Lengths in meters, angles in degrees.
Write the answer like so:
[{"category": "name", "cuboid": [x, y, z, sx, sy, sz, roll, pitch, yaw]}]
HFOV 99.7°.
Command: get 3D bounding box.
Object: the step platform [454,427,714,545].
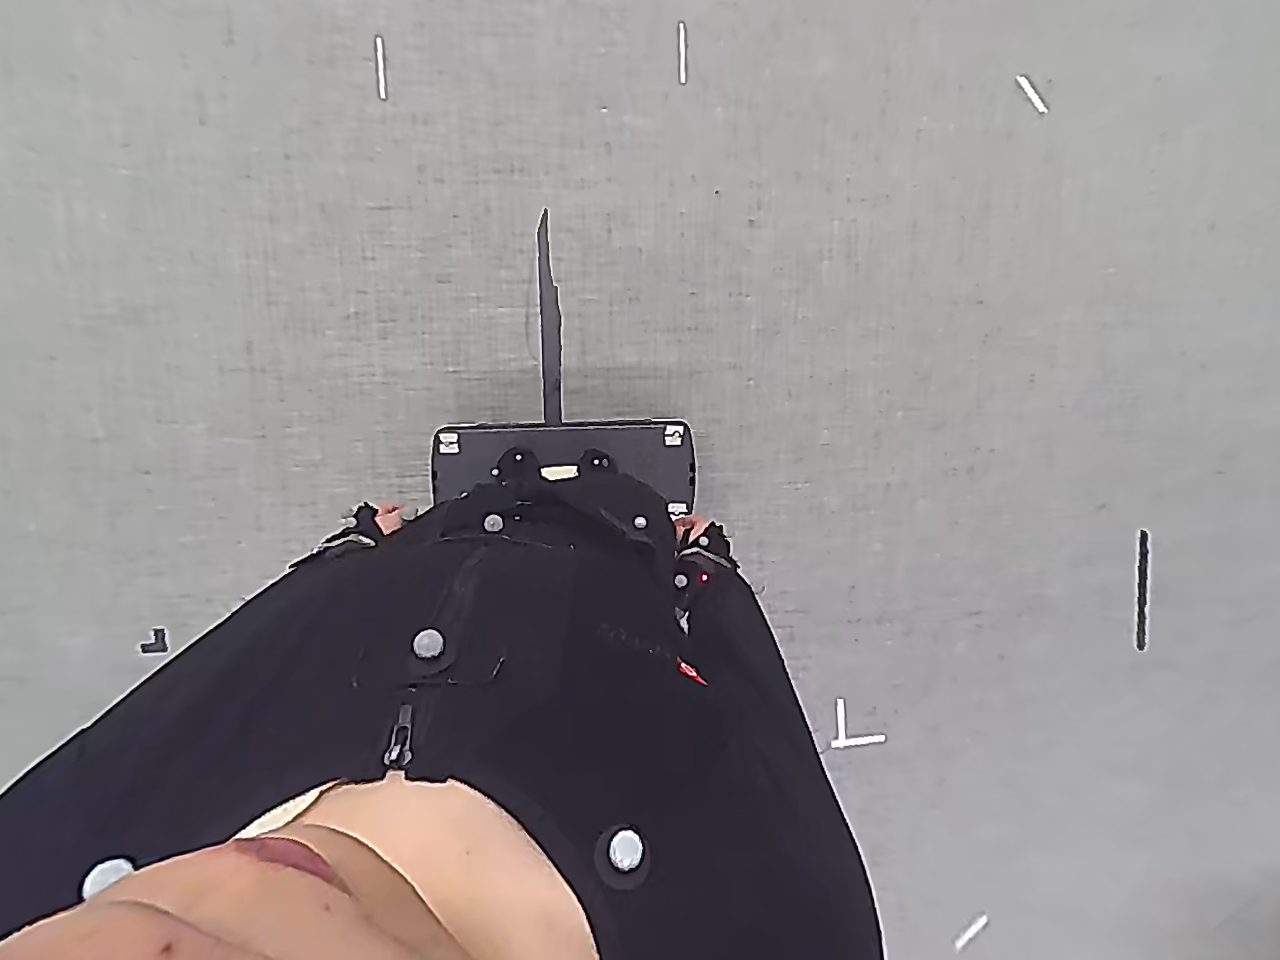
[{"category": "step platform", "cuboid": [-0.144, 0.015, 1.460, 0.684, 0.204, 0.286, 2, 94, -5]}]
